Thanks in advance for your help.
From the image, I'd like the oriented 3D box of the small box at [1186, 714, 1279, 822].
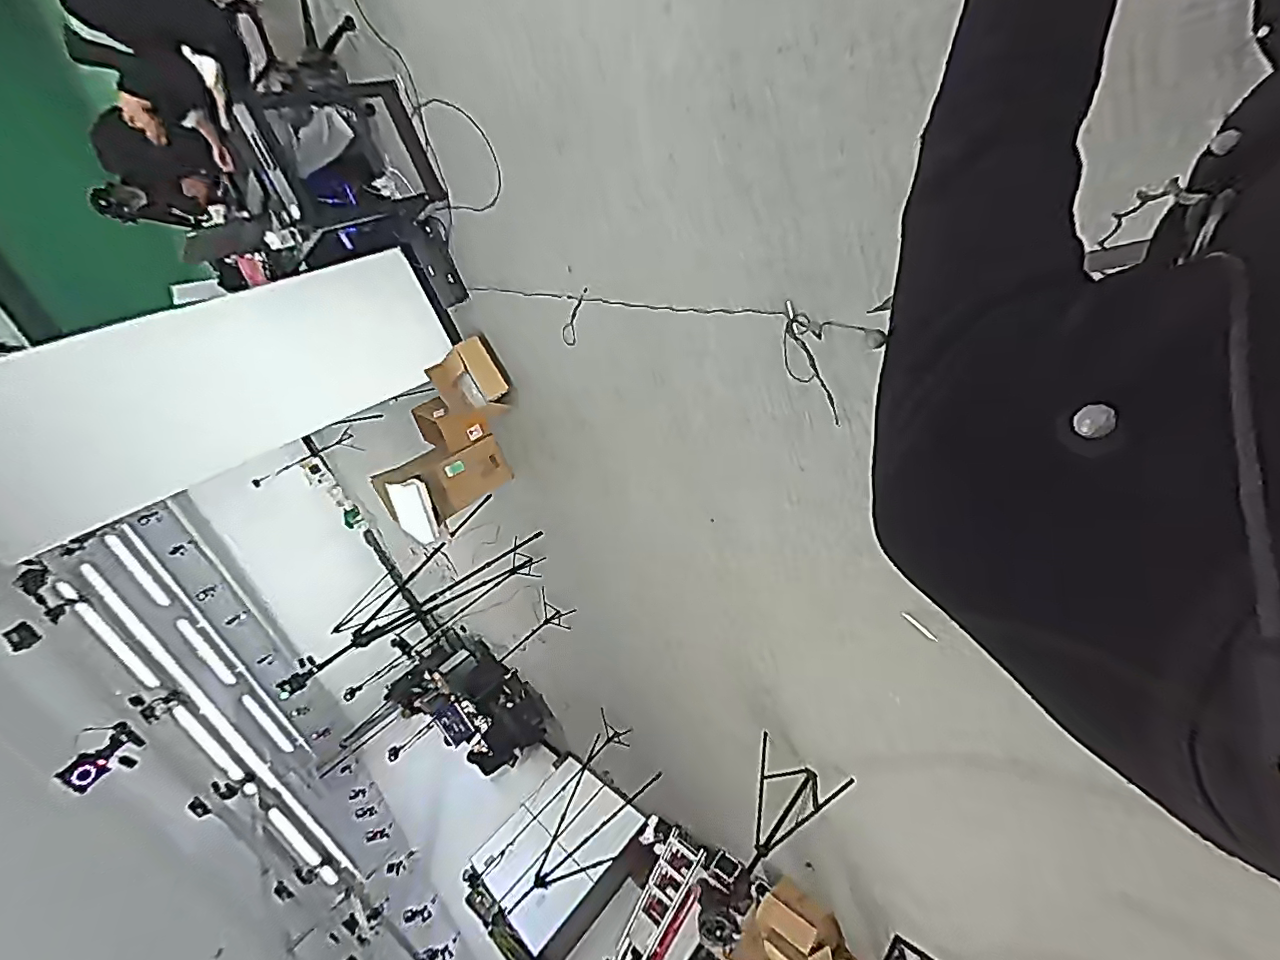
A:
[{"bbox_3d":[1.674,0.800,1.524,0.168,0.176,0.179,9,128,48],"label":"small box"}]
